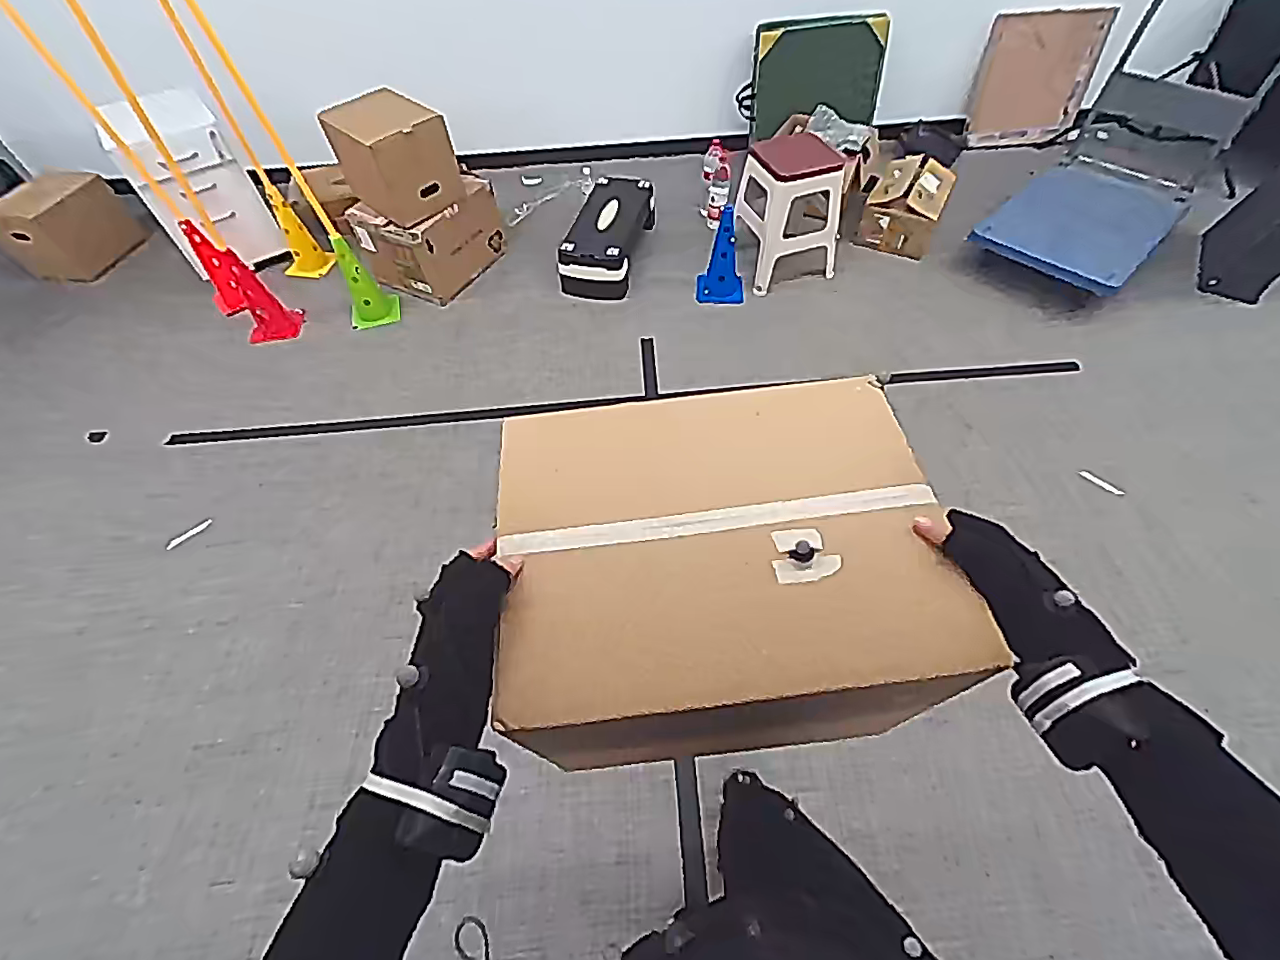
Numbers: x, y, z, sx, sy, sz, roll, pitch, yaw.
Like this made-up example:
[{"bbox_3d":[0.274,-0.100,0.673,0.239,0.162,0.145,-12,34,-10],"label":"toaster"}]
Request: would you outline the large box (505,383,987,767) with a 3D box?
[{"bbox_3d":[0.077,0.124,0.638,0.408,0.320,0.320,-7,56,-1],"label":"large box"}]
